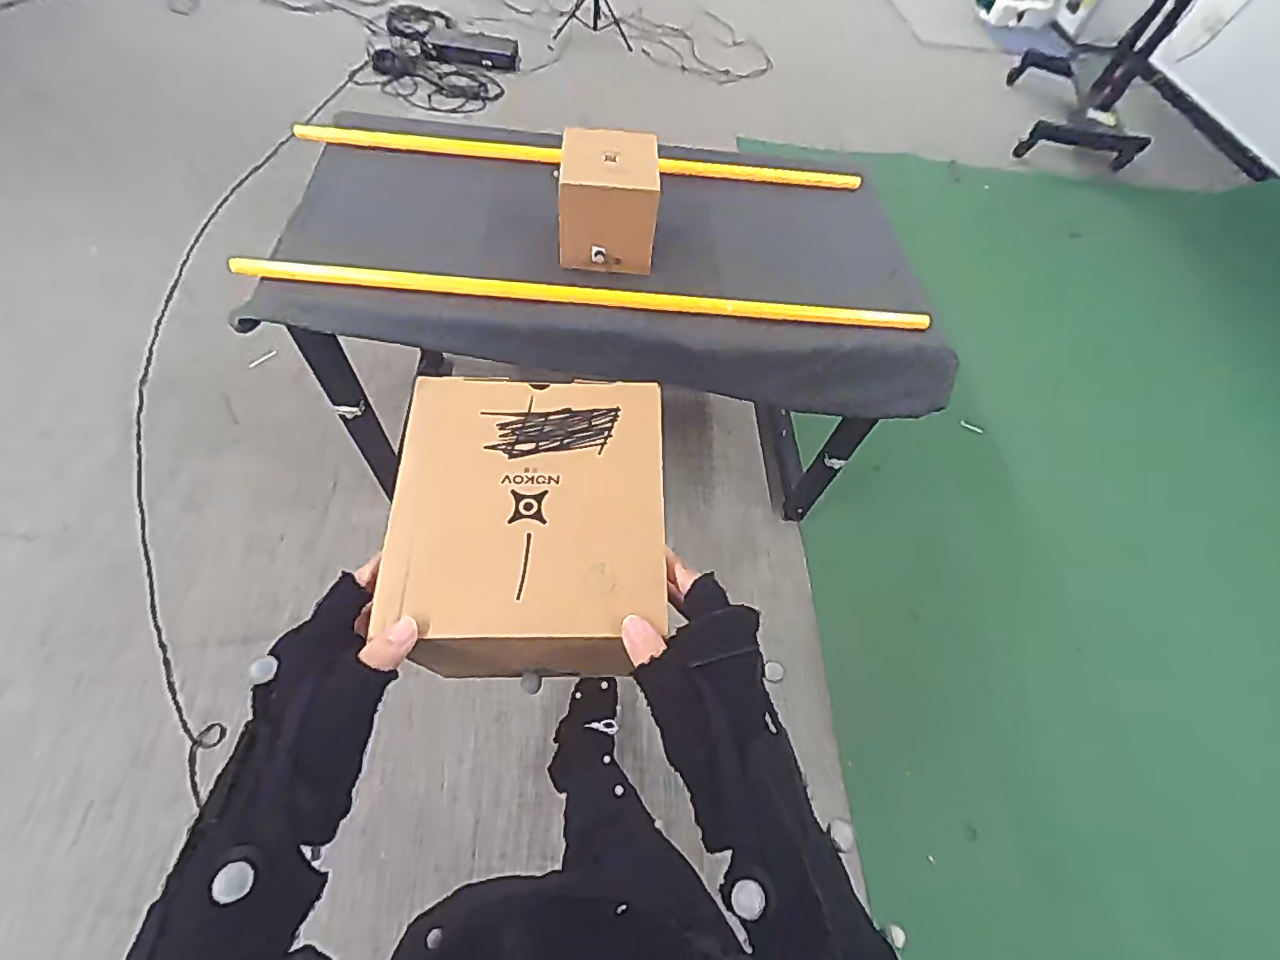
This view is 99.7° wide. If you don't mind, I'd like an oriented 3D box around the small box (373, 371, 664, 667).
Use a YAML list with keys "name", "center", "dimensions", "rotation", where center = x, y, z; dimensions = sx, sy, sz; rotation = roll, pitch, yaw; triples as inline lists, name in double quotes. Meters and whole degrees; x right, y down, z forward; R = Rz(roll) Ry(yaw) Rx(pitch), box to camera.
- name: "small box"
  center: [-0.073, 0.039, 0.413]
  dimensions: [0.168, 0.176, 0.179]
  rotation: [1, 64, -3]

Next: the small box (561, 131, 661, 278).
- name: "small box"
  center: [-0.056, -0.497, 0.985]
  dimensions: [0.168, 0.176, 0.179]
  rotation: [1, 60, -5]
